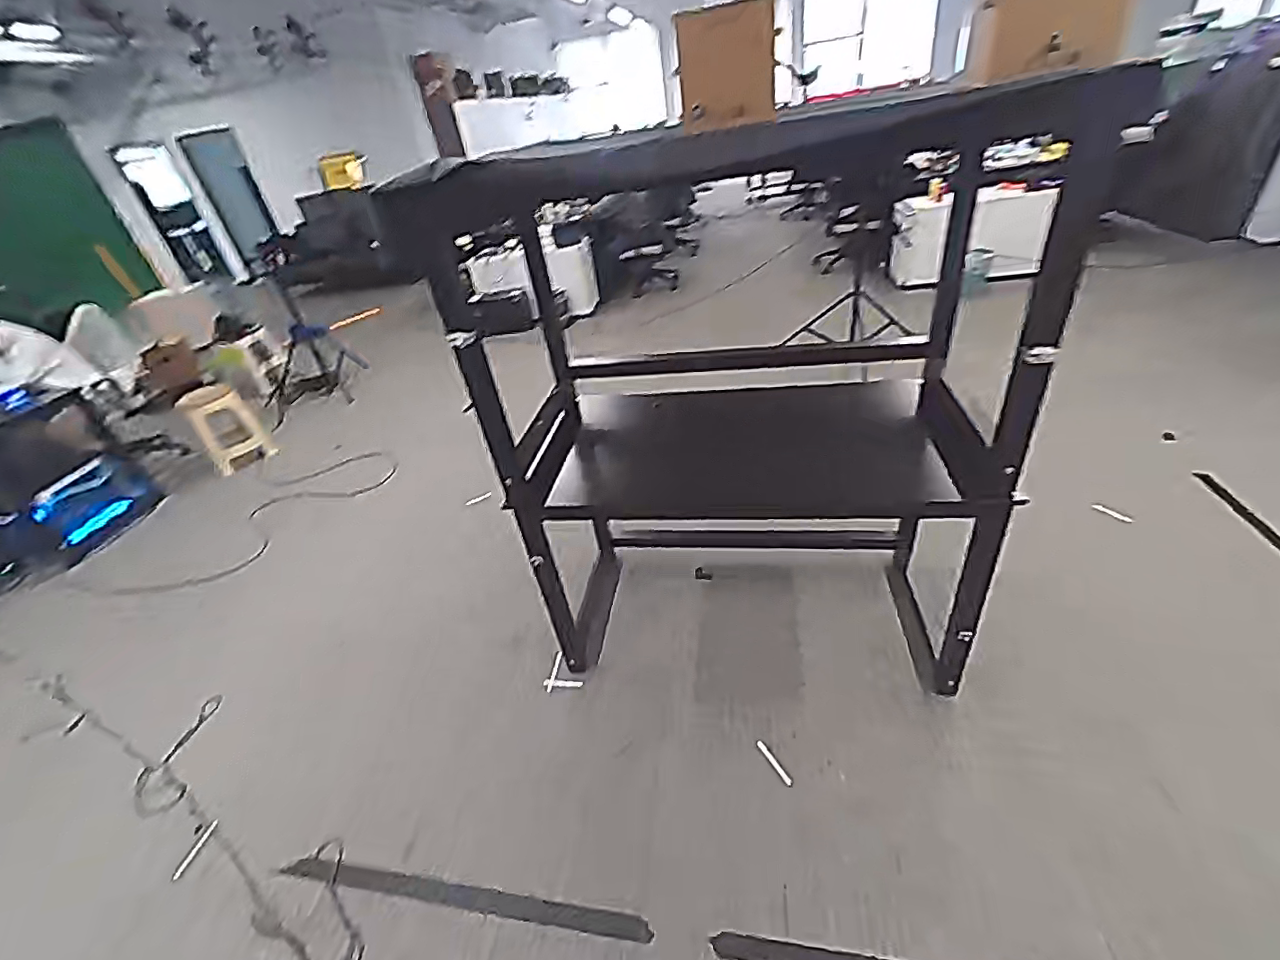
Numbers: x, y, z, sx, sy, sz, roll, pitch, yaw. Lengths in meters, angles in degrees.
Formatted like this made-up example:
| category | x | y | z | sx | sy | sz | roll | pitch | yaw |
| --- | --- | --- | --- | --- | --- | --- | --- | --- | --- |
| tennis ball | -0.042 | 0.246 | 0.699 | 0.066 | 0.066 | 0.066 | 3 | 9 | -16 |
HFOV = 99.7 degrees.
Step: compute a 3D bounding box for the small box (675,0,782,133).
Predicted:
| category | x | y | z | sx | sy | sz | roll | pitch | yaw |
| --- | --- | --- | --- | --- | --- | --- | --- | --- | --- |
| small box | 0.160 | -0.720 | 0.947 | 0.168 | 0.176 | 0.179 | -1 | 33 | 12 |
